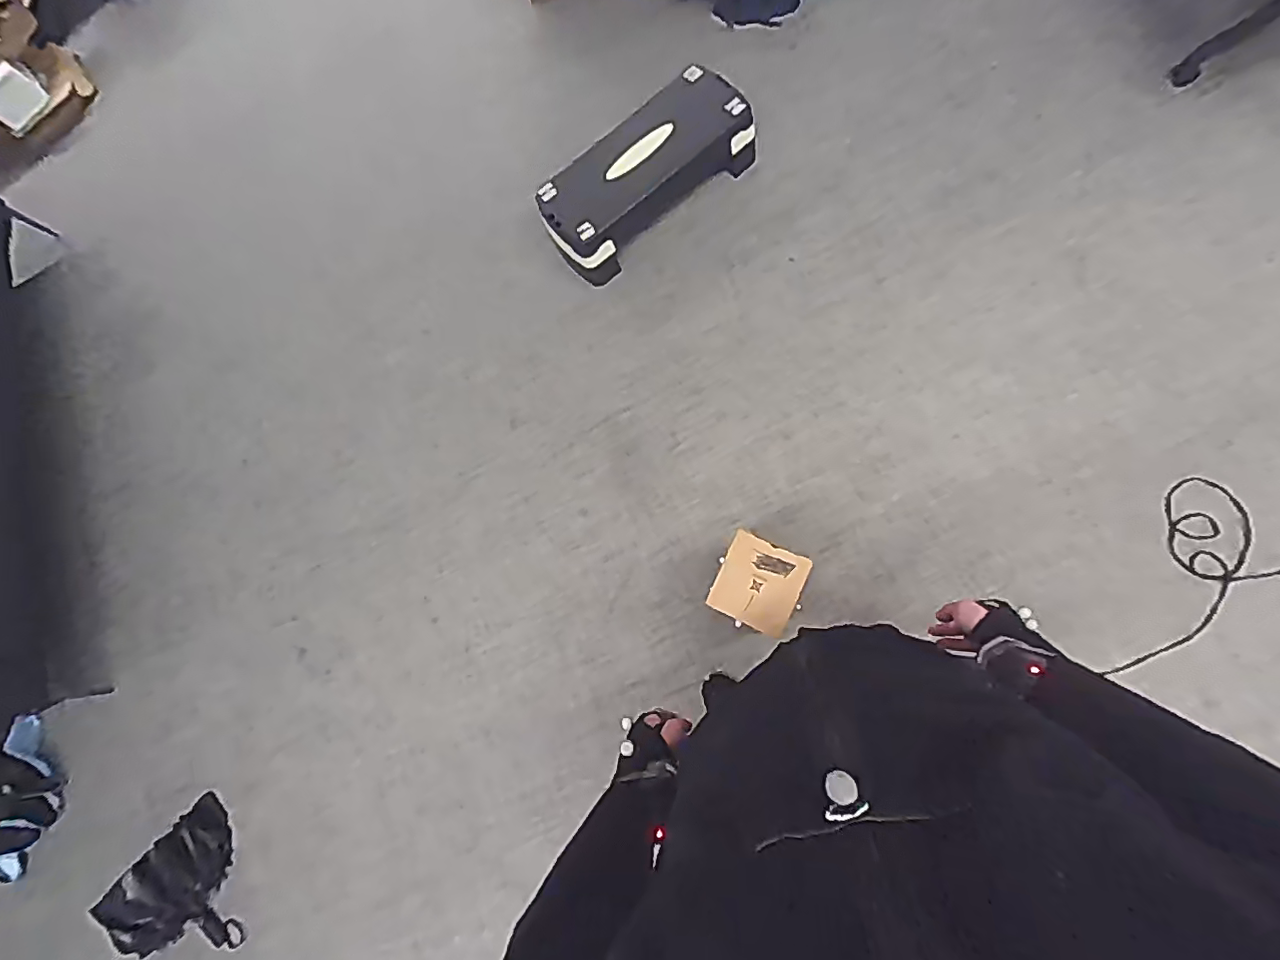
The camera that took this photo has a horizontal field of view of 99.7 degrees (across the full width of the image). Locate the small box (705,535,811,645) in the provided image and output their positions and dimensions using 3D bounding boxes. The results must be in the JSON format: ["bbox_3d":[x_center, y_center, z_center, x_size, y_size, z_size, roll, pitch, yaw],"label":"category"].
[{"bbox_3d":[0.257,0.241,1.186,0.168,0.176,0.179,24,83,17],"label":"small box"}]
